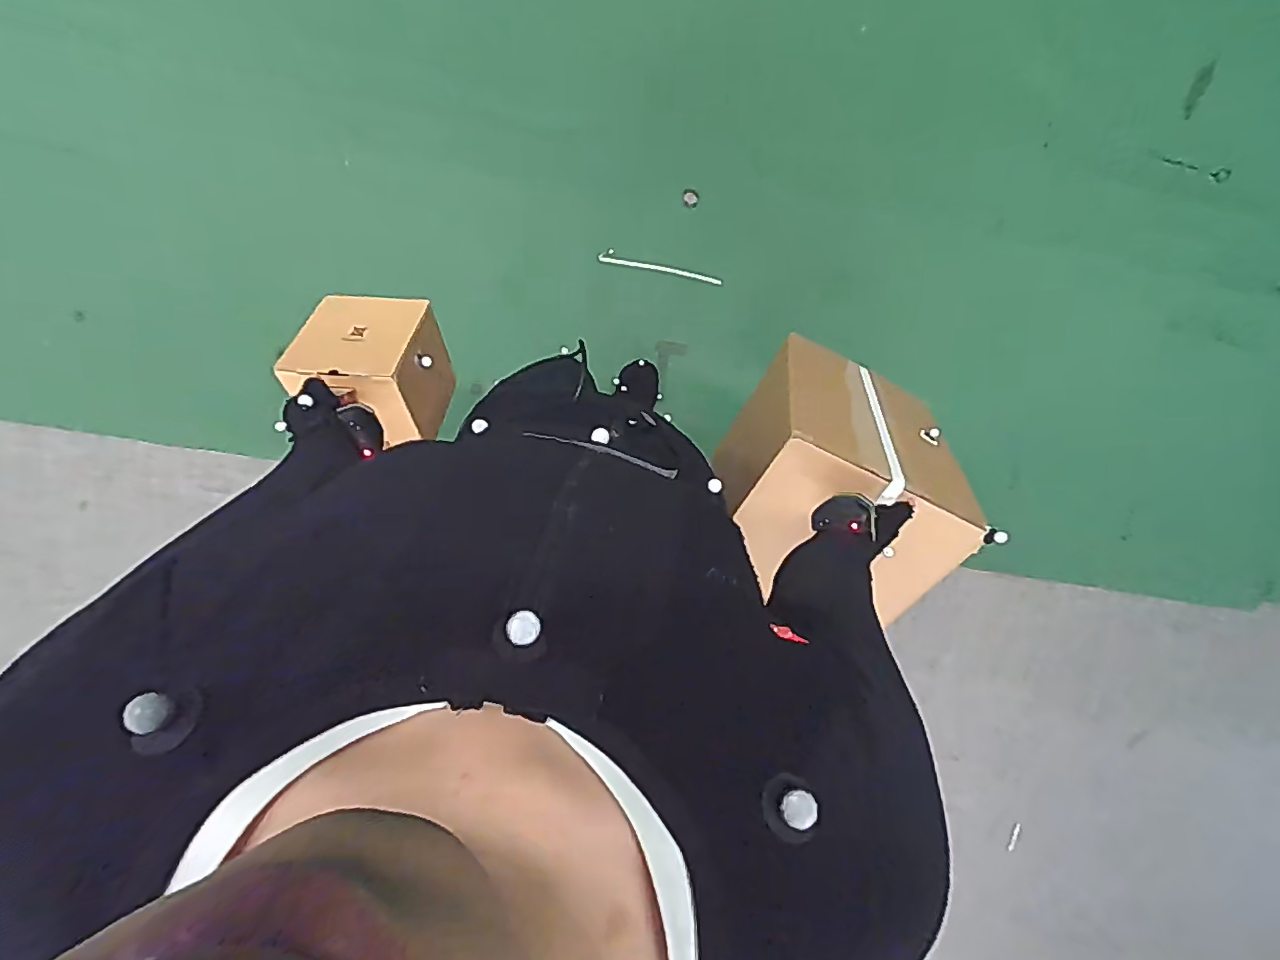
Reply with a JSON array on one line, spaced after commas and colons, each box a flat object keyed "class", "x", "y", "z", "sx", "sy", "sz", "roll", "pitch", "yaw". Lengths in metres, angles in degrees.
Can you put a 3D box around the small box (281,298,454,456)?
[{"class": "small box", "x": -0.408, "y": -0.161, "z": 0.850, "sx": 0.168, "sy": 0.179, "sz": 0.176, "roll": 3, "pitch": 143, "yaw": 2}]
